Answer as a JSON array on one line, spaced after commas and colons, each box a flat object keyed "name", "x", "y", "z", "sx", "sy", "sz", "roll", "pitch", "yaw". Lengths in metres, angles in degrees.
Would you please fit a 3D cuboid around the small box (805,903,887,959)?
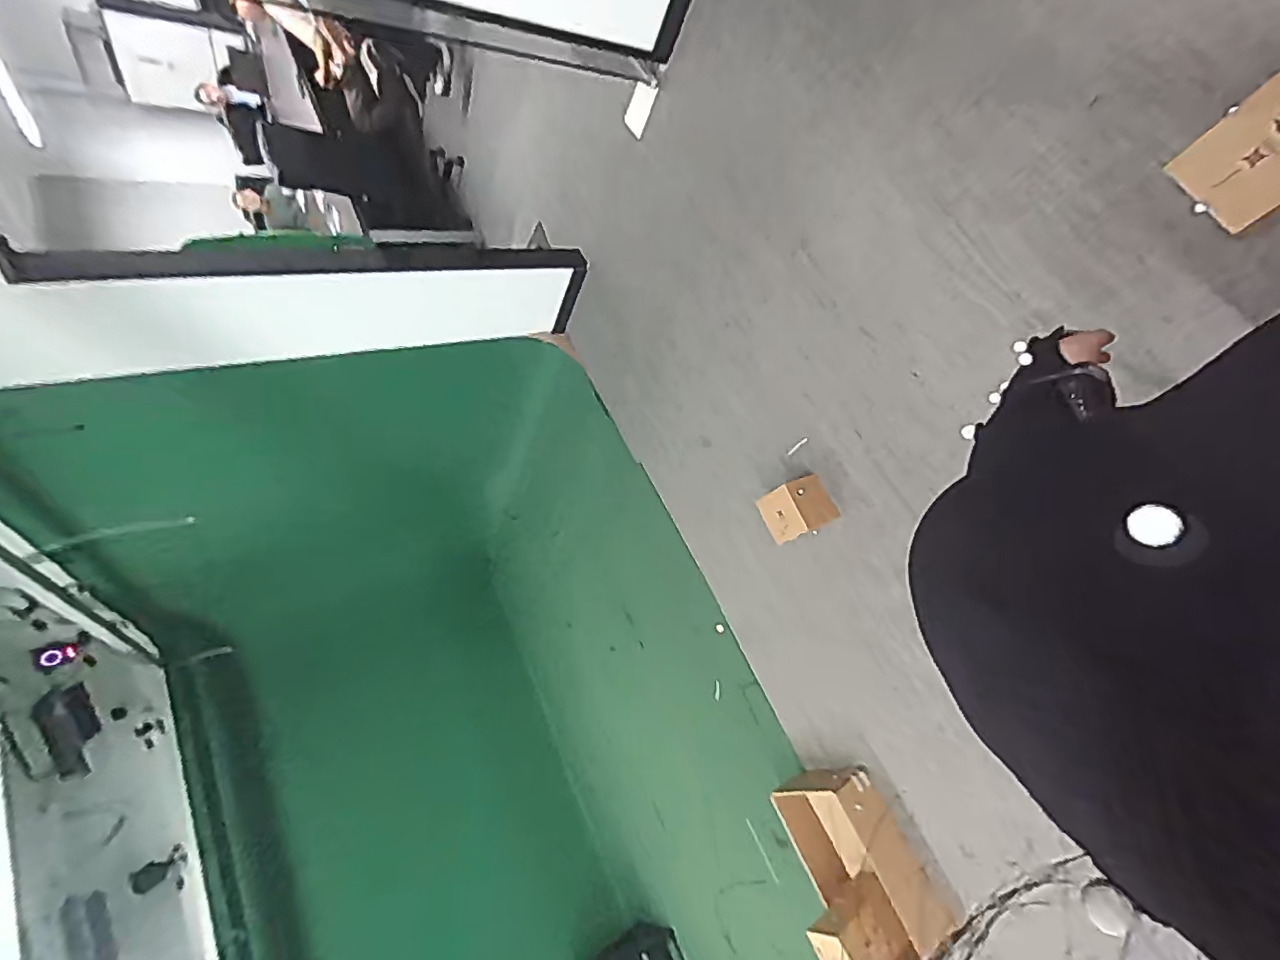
[{"name": "small box", "x": 0.716, "y": 1.599, "z": 1.860, "sx": 0.168, "sy": 0.176, "sz": 0.179, "roll": 60, "pitch": 143, "yaw": 20}]

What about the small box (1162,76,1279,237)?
[{"name": "small box", "x": 1.044, "y": -0.533, "z": 0.901, "sx": 0.168, "sy": 0.176, "sz": 0.179, "roll": 63, "pitch": 146, "yaw": 17}]

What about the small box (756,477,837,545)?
[{"name": "small box", "x": 0.545, "y": 0.101, "z": 1.883, "sx": 0.168, "sy": 0.176, "sz": 0.179, "roll": -43, "pitch": 67, "yaw": 54}]
